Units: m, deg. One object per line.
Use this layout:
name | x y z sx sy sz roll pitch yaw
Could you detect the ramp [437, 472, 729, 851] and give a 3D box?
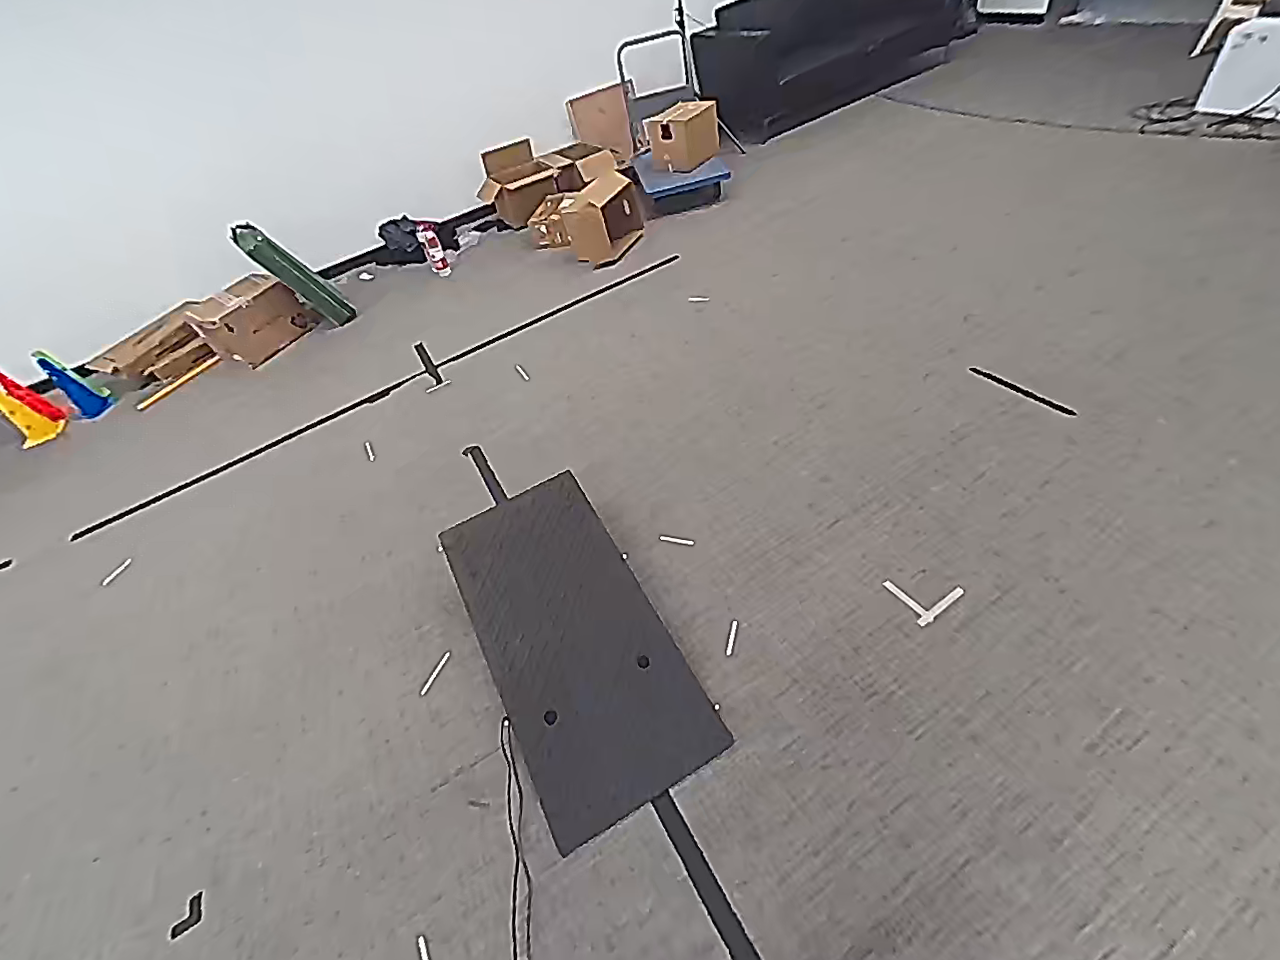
ramp | -0.217 0.425 1.582 0.509 0.206 0.991 -28 47 -14
